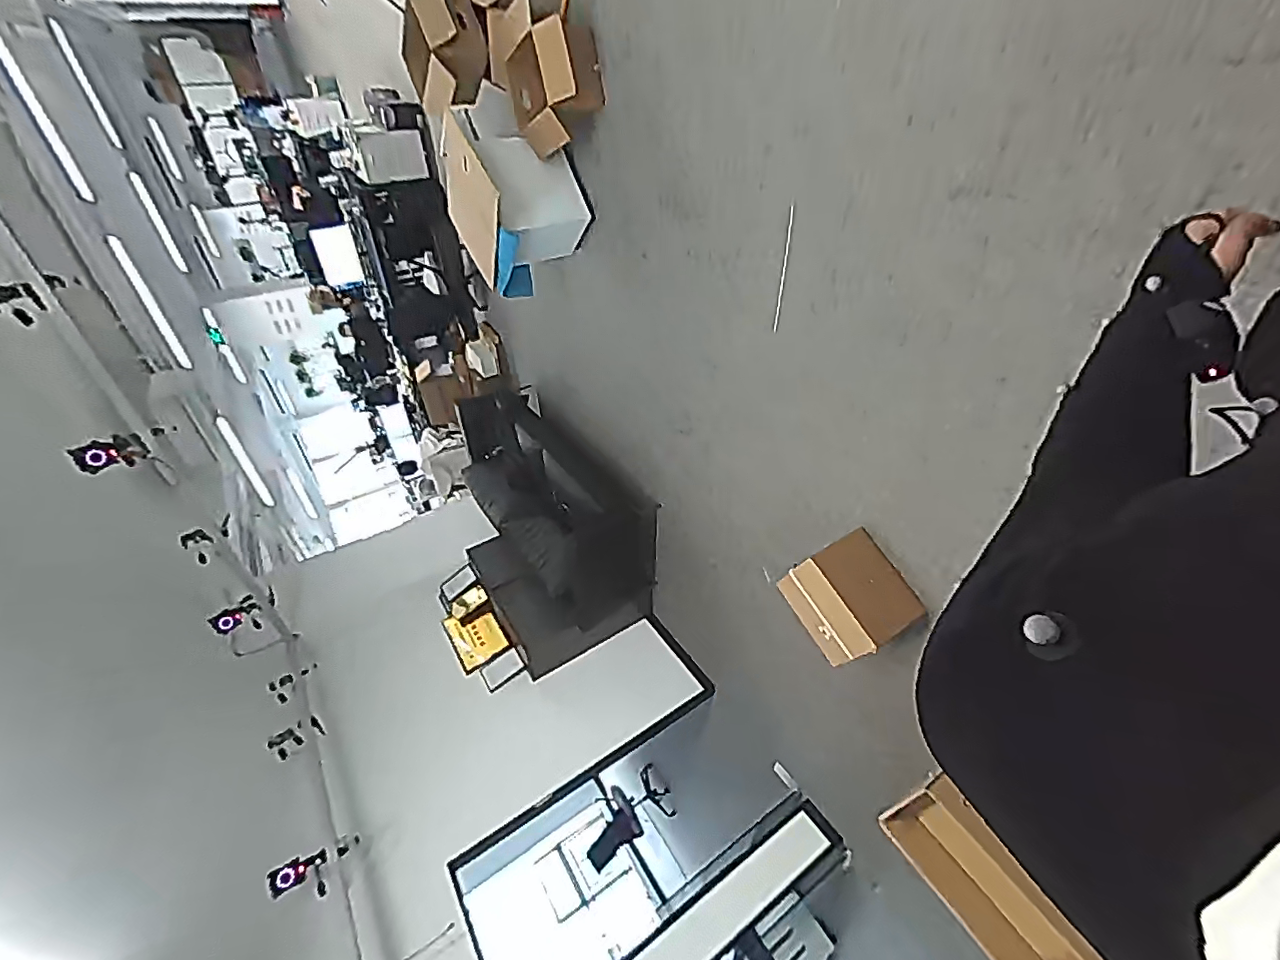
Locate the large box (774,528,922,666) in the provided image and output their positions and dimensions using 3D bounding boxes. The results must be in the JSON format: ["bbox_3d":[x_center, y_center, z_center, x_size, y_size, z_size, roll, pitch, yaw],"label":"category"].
[{"bbox_3d":[0.836,0.472,2.208,0.408,0.320,0.320,56,153,19],"label":"large box"}]
